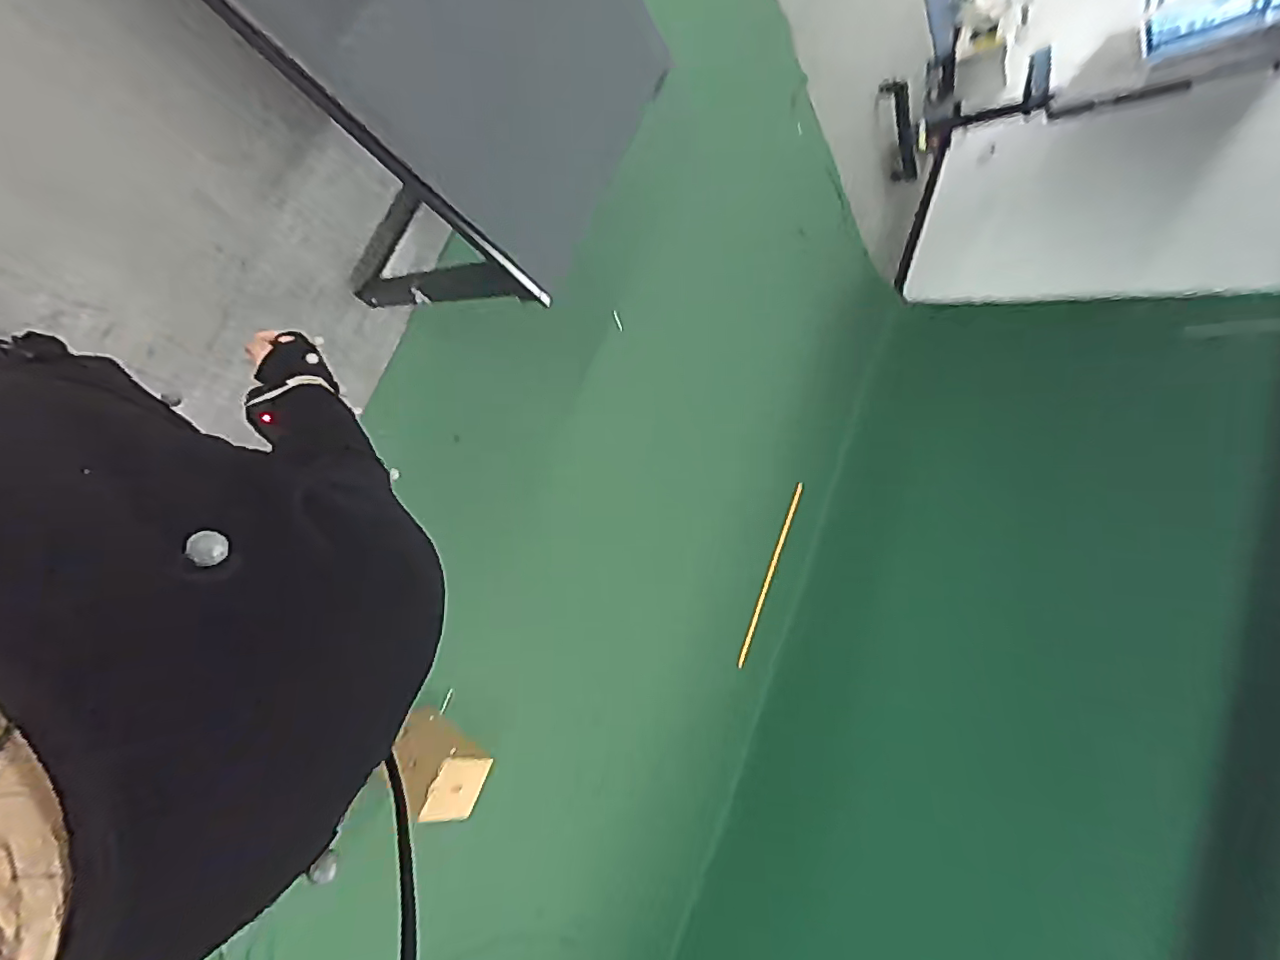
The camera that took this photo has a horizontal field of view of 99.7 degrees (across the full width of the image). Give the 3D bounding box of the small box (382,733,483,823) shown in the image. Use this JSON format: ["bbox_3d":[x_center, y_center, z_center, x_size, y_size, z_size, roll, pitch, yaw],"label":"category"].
[{"bbox_3d":[-0.591,0.839,1.538,0.179,0.176,0.168,35,74,-48],"label":"small box"}]
